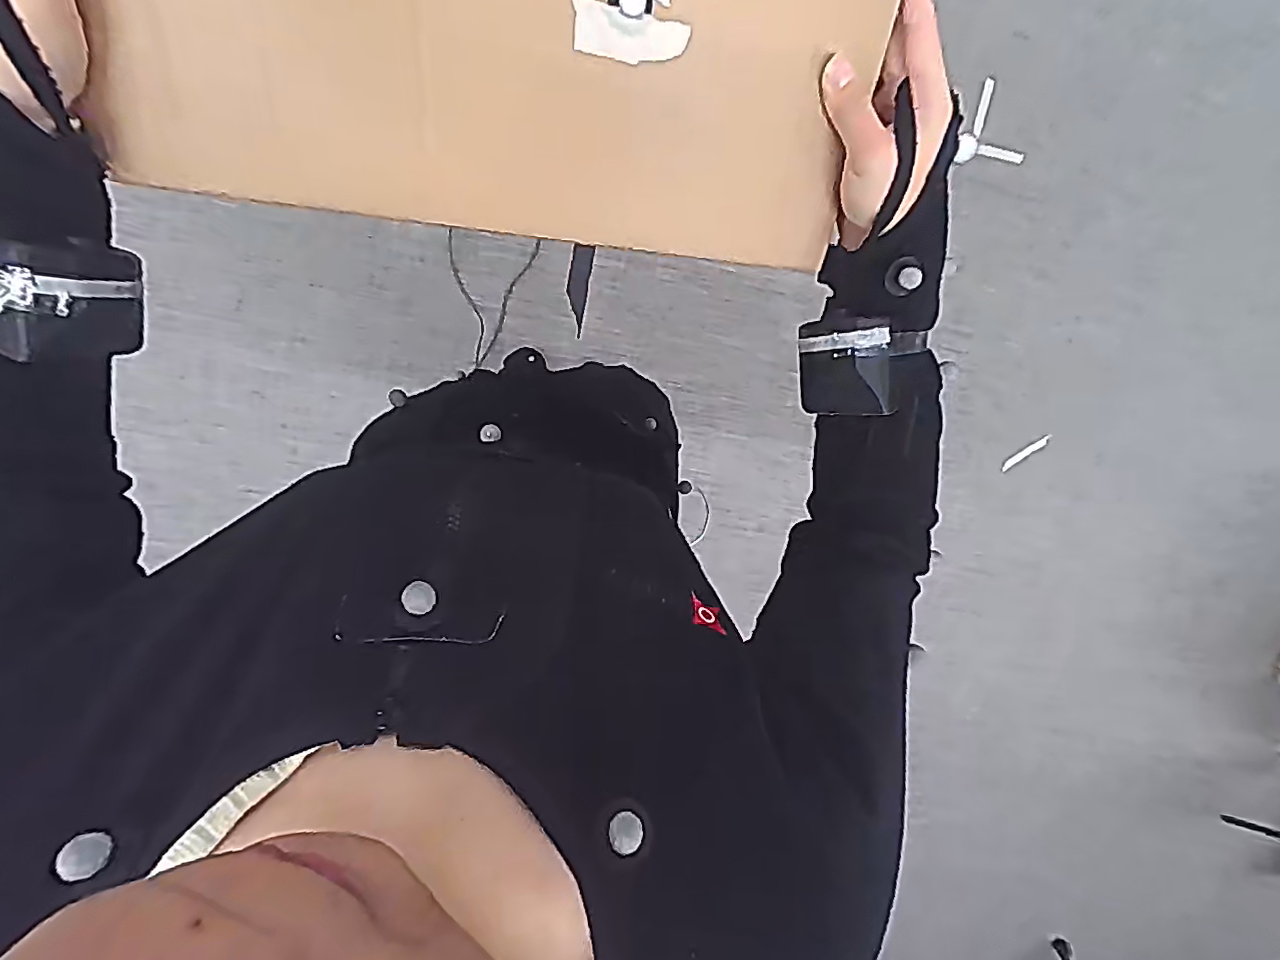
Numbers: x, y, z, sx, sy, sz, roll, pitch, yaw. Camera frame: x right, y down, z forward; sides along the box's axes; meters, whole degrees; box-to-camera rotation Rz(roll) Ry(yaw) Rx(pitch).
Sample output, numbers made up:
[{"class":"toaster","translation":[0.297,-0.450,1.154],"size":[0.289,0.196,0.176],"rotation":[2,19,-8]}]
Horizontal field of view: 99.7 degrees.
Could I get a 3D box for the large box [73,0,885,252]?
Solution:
[{"class":"large box","translation":[-0.078,-0.363,0.371],"size":[0.408,0.320,0.320],"rotation":[3,121,-10]}]
